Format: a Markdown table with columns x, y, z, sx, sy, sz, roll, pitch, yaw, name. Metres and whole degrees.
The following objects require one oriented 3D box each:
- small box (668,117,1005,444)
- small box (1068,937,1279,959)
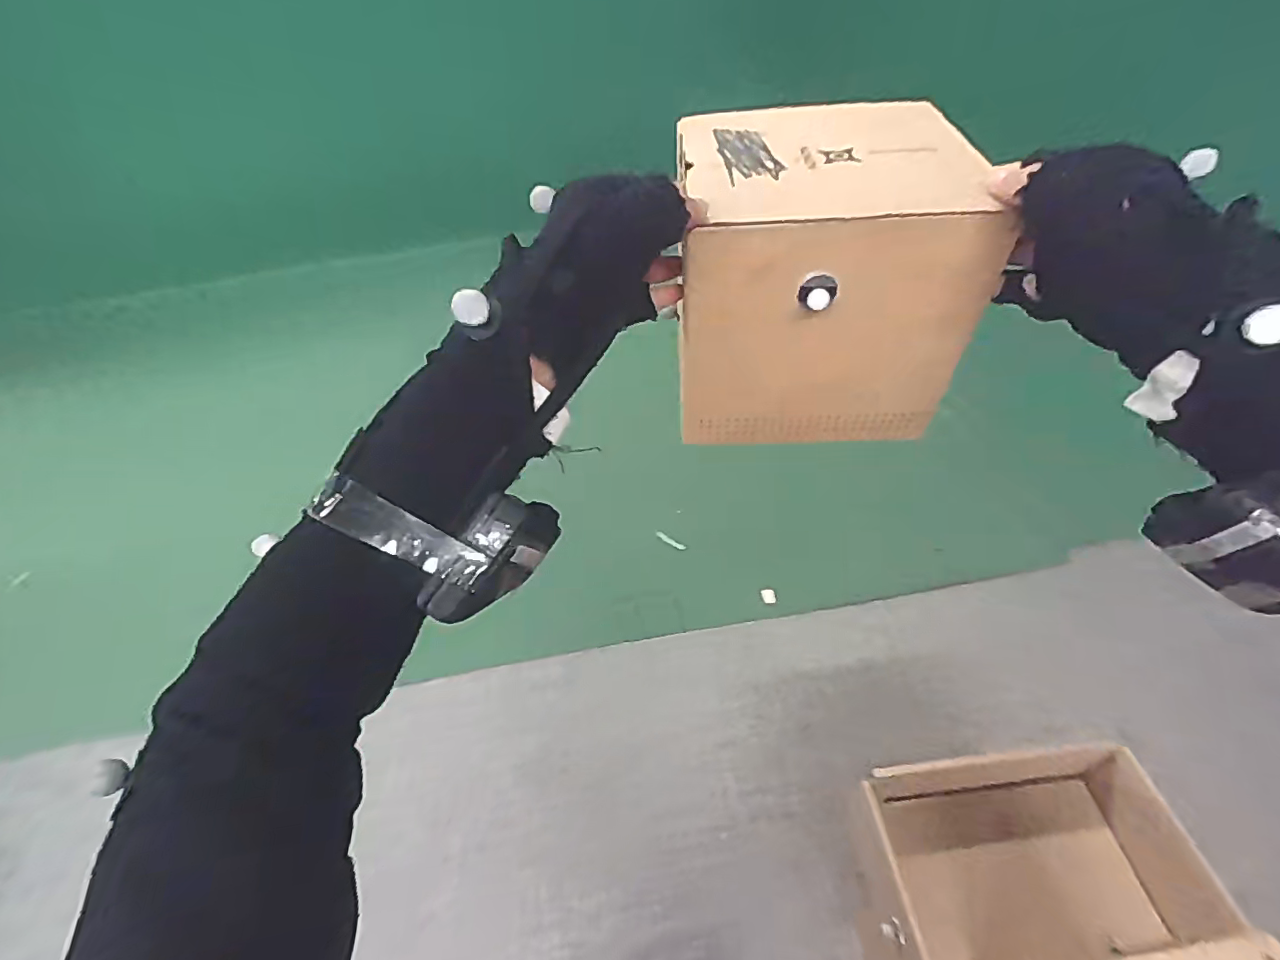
| x | y | z | sx | sy | sz | roll | pitch | yaw | name |
| --- | --- | --- | --- | --- | --- | --- | --- | --- | --- |
| 0.111 | -0.139 | 0.395 | 0.179 | 0.176 | 0.168 | -1 | 50 | 3 | small box |
| 0.536 | 0.566 | 0.523 | 0.179 | 0.176 | 0.168 | -9 | 47 | -1 | small box |
